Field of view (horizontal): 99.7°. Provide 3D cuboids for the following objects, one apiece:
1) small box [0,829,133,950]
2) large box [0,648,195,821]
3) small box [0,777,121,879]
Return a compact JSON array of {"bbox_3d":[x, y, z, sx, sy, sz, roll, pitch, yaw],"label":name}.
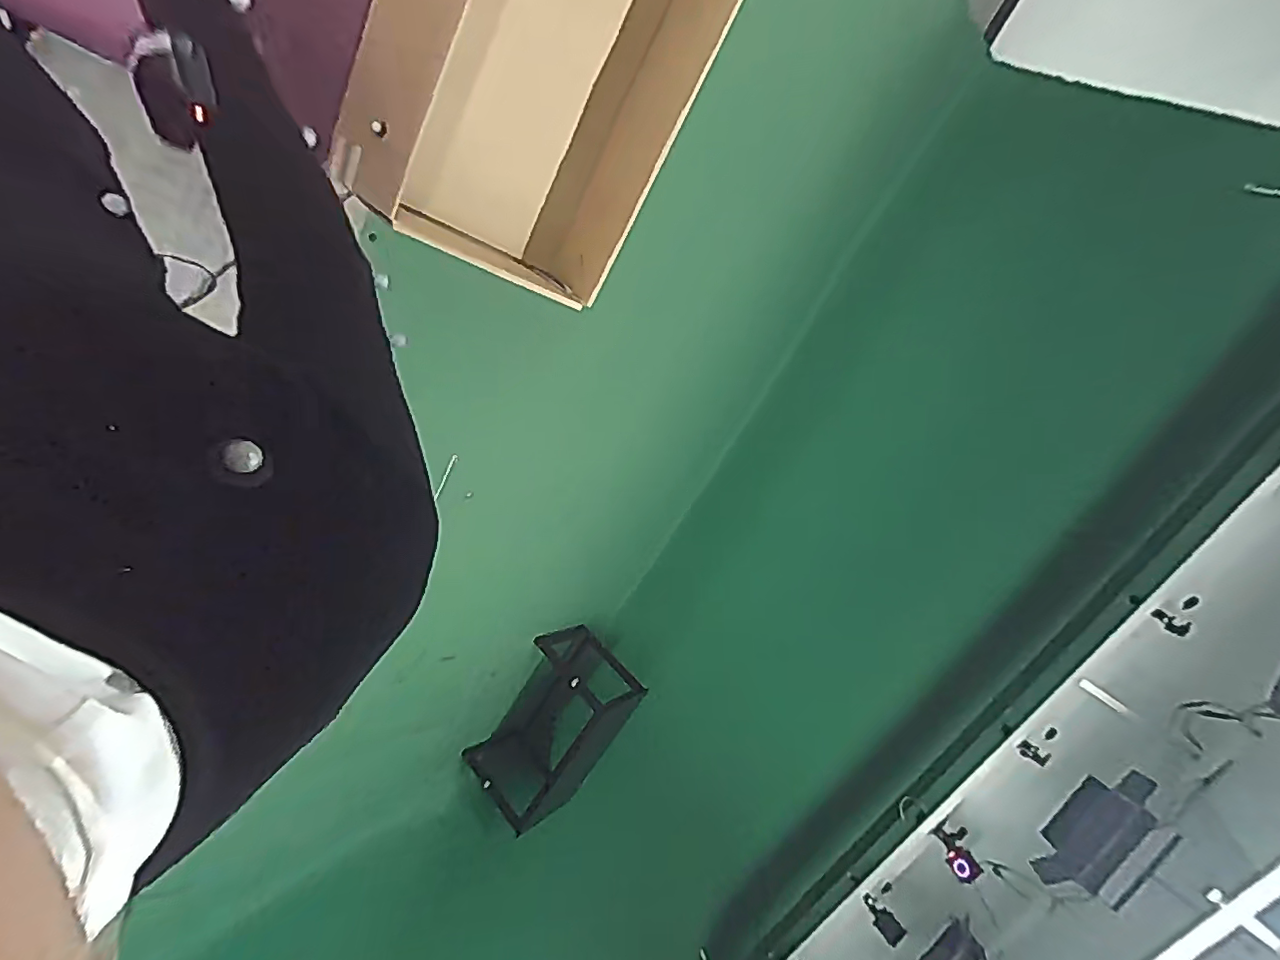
[{"bbox_3d":[-1.444,1.029,1.367,0.168,0.176,0.179,-32,146,-35],"label":"small box"},{"bbox_3d":[-1.683,0.797,1.619,0.408,0.320,0.320,-33,149,-34],"label":"large box"},{"bbox_3d":[-1.558,0.944,1.447,0.179,0.176,0.168,-33,148,-33],"label":"small box"}]
